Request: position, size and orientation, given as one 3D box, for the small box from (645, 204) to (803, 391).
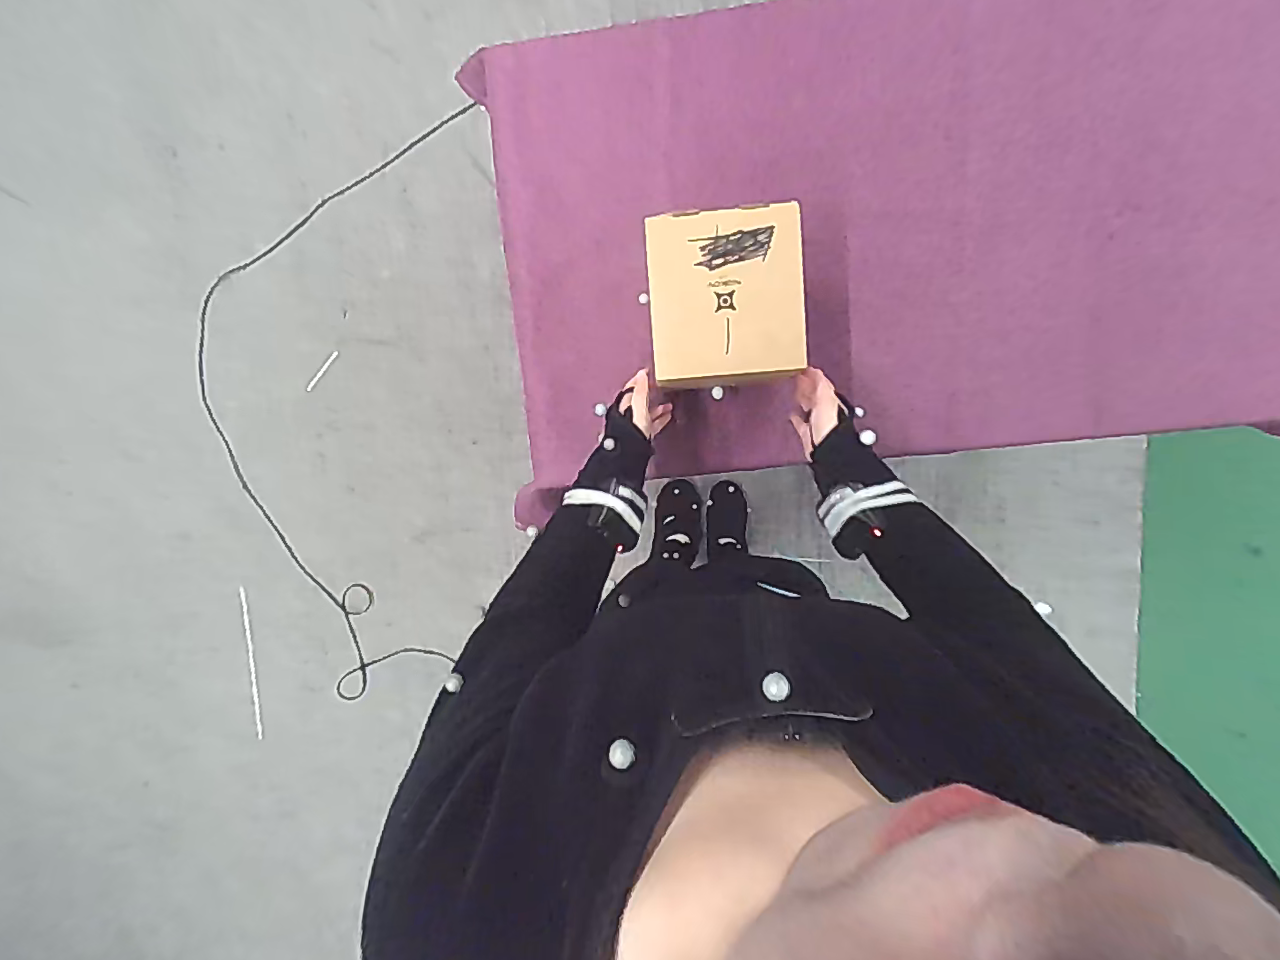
[{"bbox_3d":[0.095,-0.207,0.660,0.168,0.176,0.179,-4,95,5],"label":"small box"}]
